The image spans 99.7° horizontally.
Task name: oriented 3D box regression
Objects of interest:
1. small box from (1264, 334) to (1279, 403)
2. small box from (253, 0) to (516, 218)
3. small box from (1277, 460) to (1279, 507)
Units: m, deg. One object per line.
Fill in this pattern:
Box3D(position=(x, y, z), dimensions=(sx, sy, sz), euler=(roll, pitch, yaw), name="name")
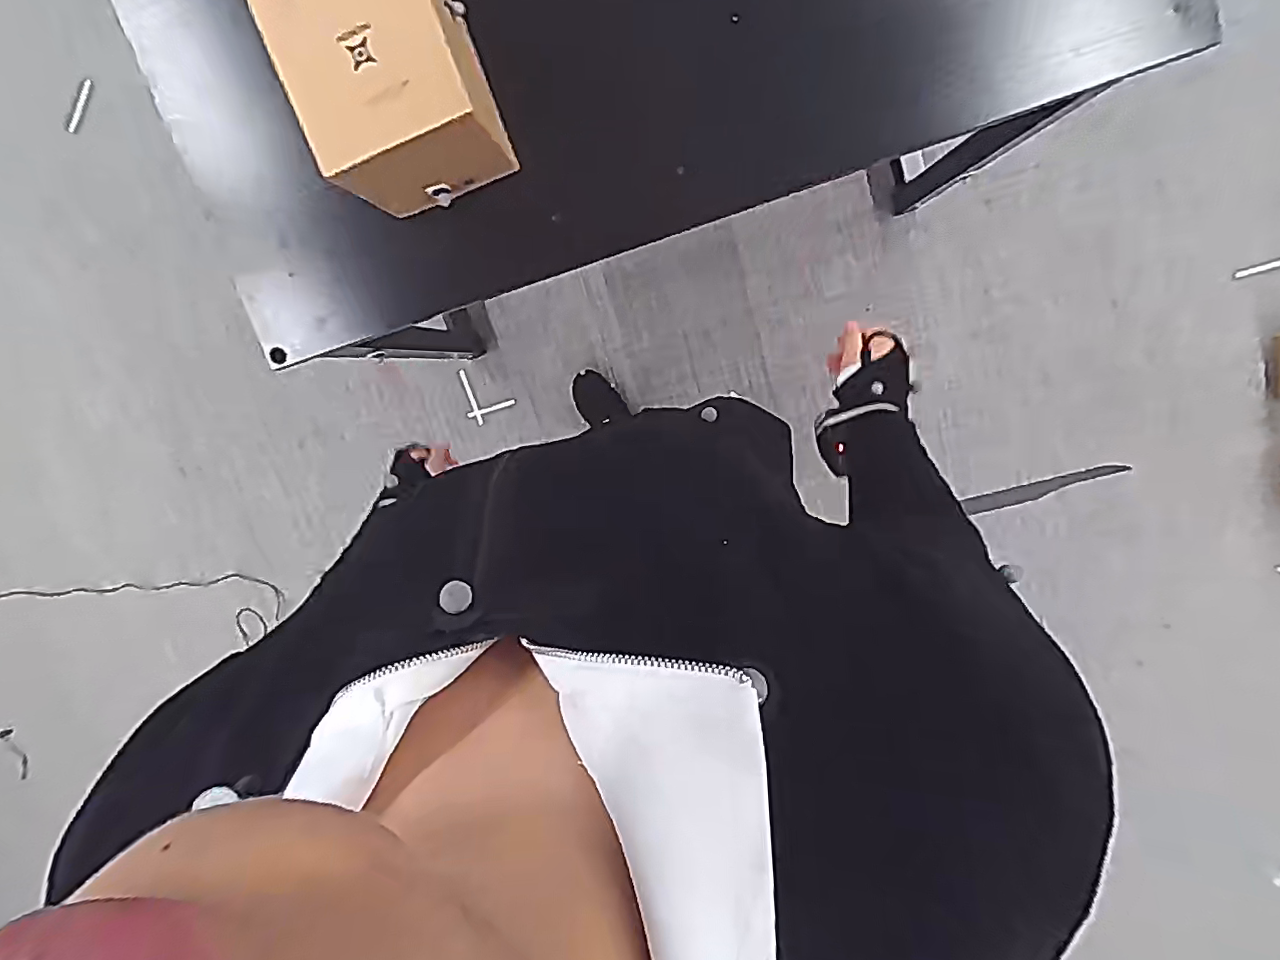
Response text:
Box3D(position=(1.651, -0.274, 1.279), dimensions=(0.168, 0.176, 0.179), euler=(-14, 101, 5), name="small box")
Box3D(position=(-0.260, -0.422, 0.595), dimensions=(0.168, 0.176, 0.179), euler=(-20, 101, 8), name="small box")
Box3D(position=(1.749, 0.002, 1.336), dimensions=(0.179, 0.176, 0.168), euler=(-18, 101, 7), name="small box")
